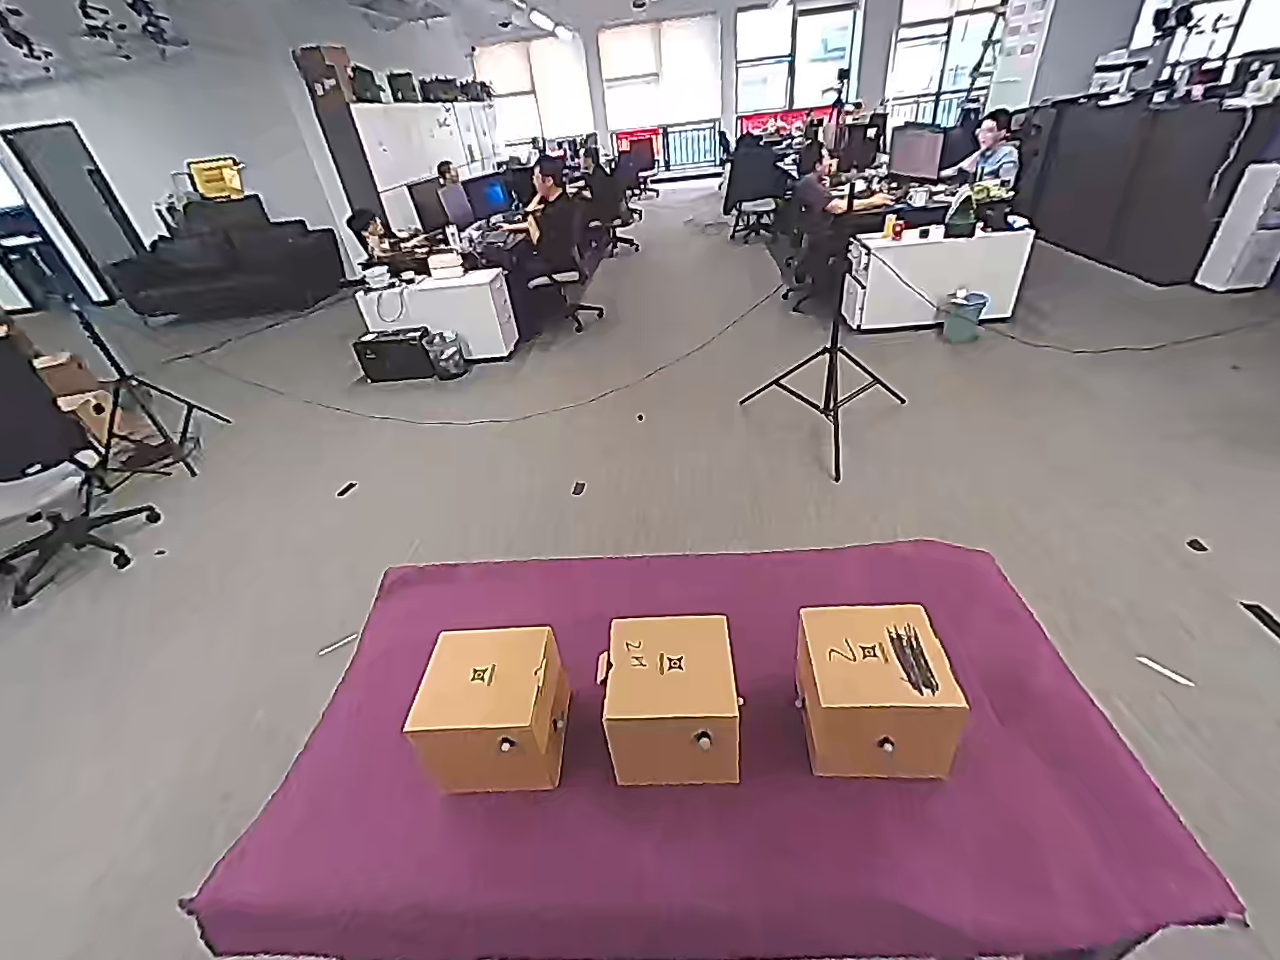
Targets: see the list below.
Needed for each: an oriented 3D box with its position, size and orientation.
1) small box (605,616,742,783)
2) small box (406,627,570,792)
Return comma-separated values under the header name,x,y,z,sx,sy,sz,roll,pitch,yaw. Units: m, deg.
name,x,y,z,sx,sy,sz,roll,pitch,yaw
small box,0.052,0.322,0.793,0.179,0.176,0.168,-4,34,5
small box,-0.213,0.345,0.812,0.179,0.176,0.168,-4,34,3
